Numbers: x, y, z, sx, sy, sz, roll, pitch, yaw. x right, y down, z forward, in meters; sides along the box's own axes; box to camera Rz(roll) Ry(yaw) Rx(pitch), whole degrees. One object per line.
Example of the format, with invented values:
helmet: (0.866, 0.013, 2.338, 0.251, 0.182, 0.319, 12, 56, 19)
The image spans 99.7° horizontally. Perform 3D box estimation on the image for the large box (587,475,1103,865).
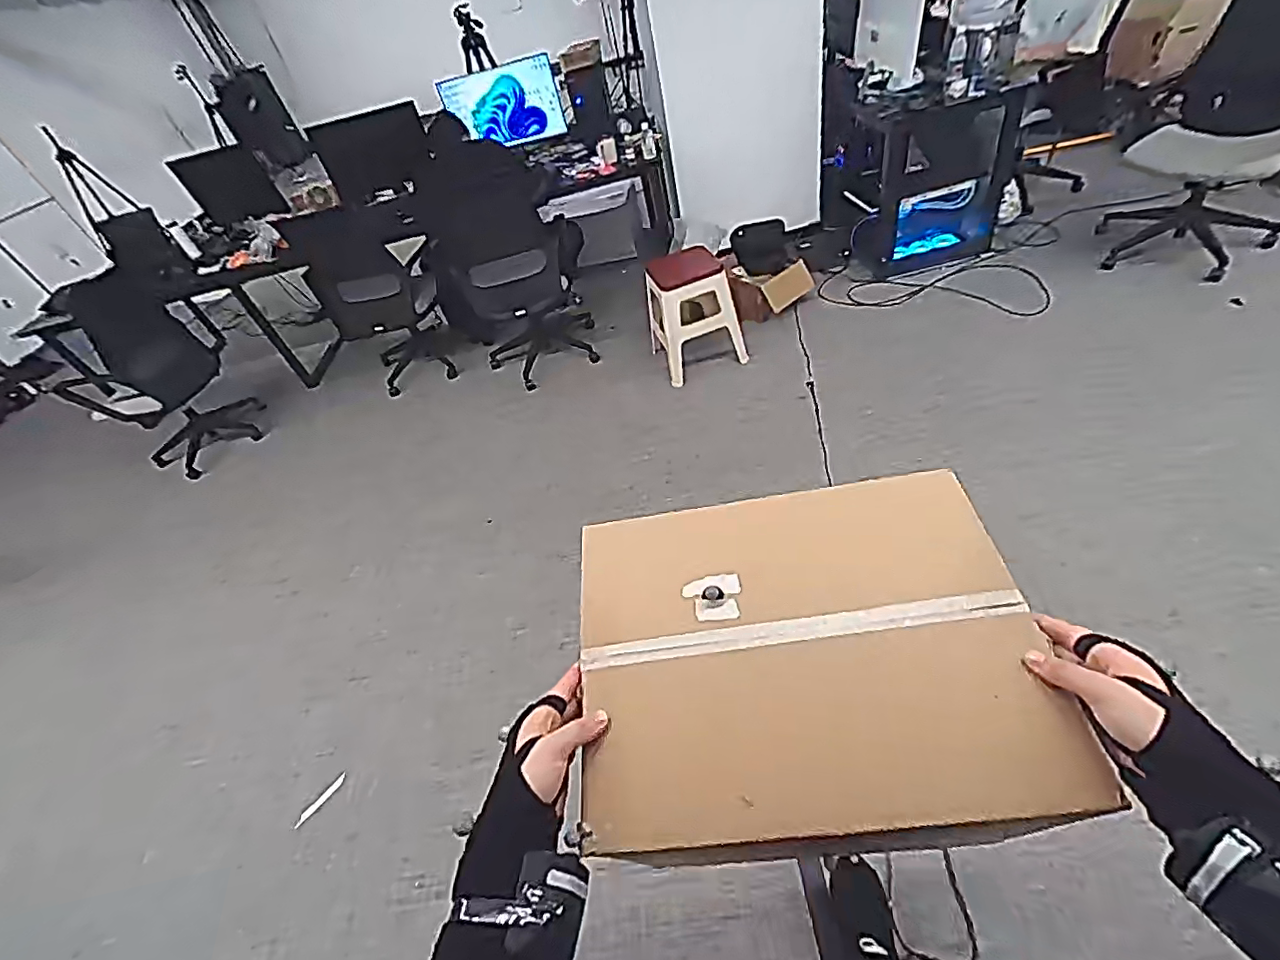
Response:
large box: (0.175, 0.238, 0.630, 0.408, 0.320, 0.320, -11, 50, 7)
